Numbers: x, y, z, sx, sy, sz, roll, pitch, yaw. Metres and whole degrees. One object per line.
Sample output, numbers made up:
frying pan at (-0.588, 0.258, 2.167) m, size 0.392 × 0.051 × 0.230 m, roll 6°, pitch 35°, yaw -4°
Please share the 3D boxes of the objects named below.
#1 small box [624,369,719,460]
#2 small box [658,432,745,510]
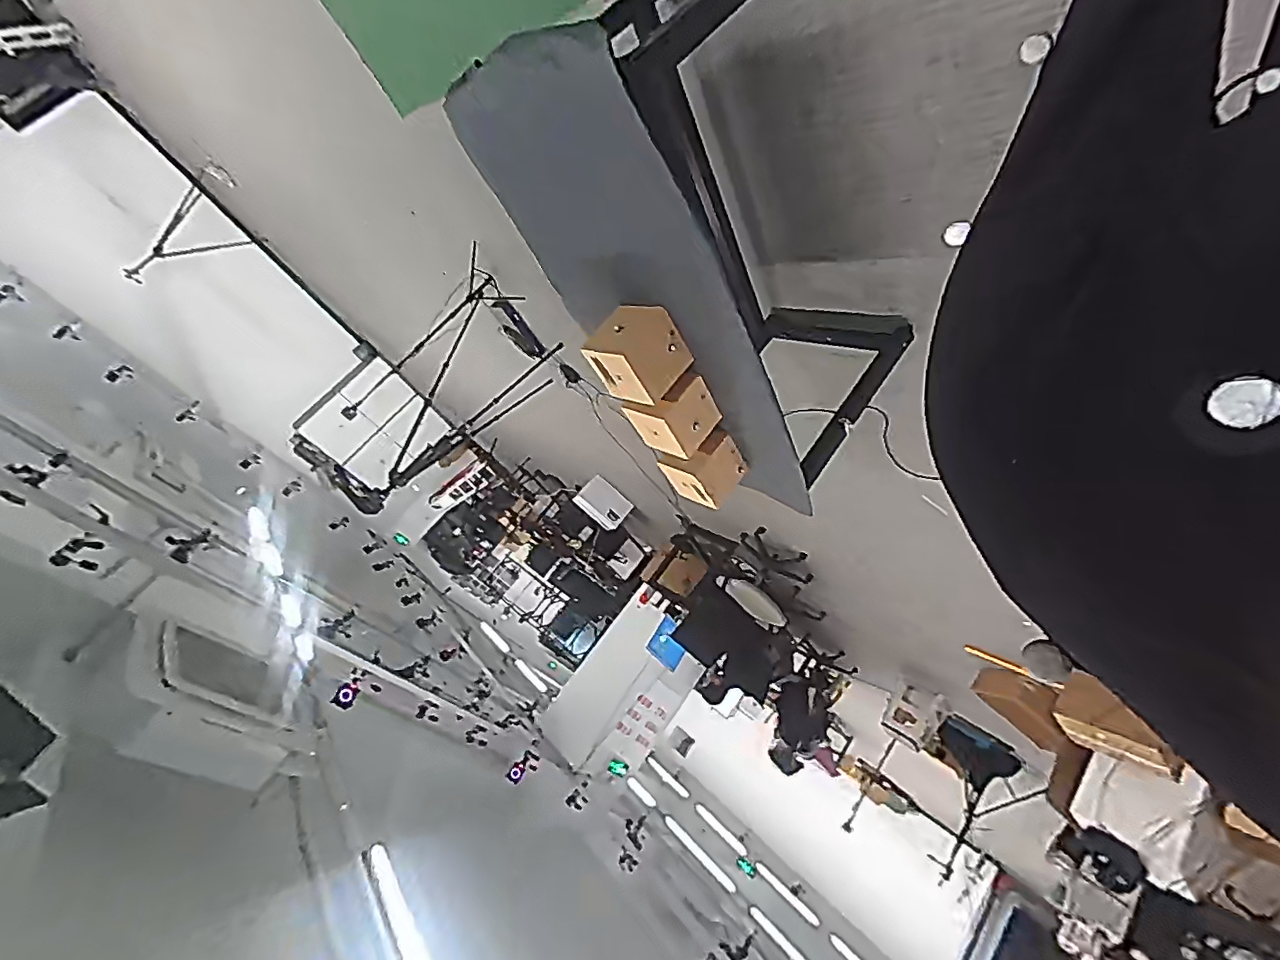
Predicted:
small box at (0.094, -0.185, 1.481) m, size 0.179 × 0.176 × 0.168 m, roll 24°, pitch 158°, yaw 45°
small box at (0.195, -0.041, 1.639) m, size 0.179 × 0.176 × 0.168 m, roll 22°, pitch 156°, yaw 49°
